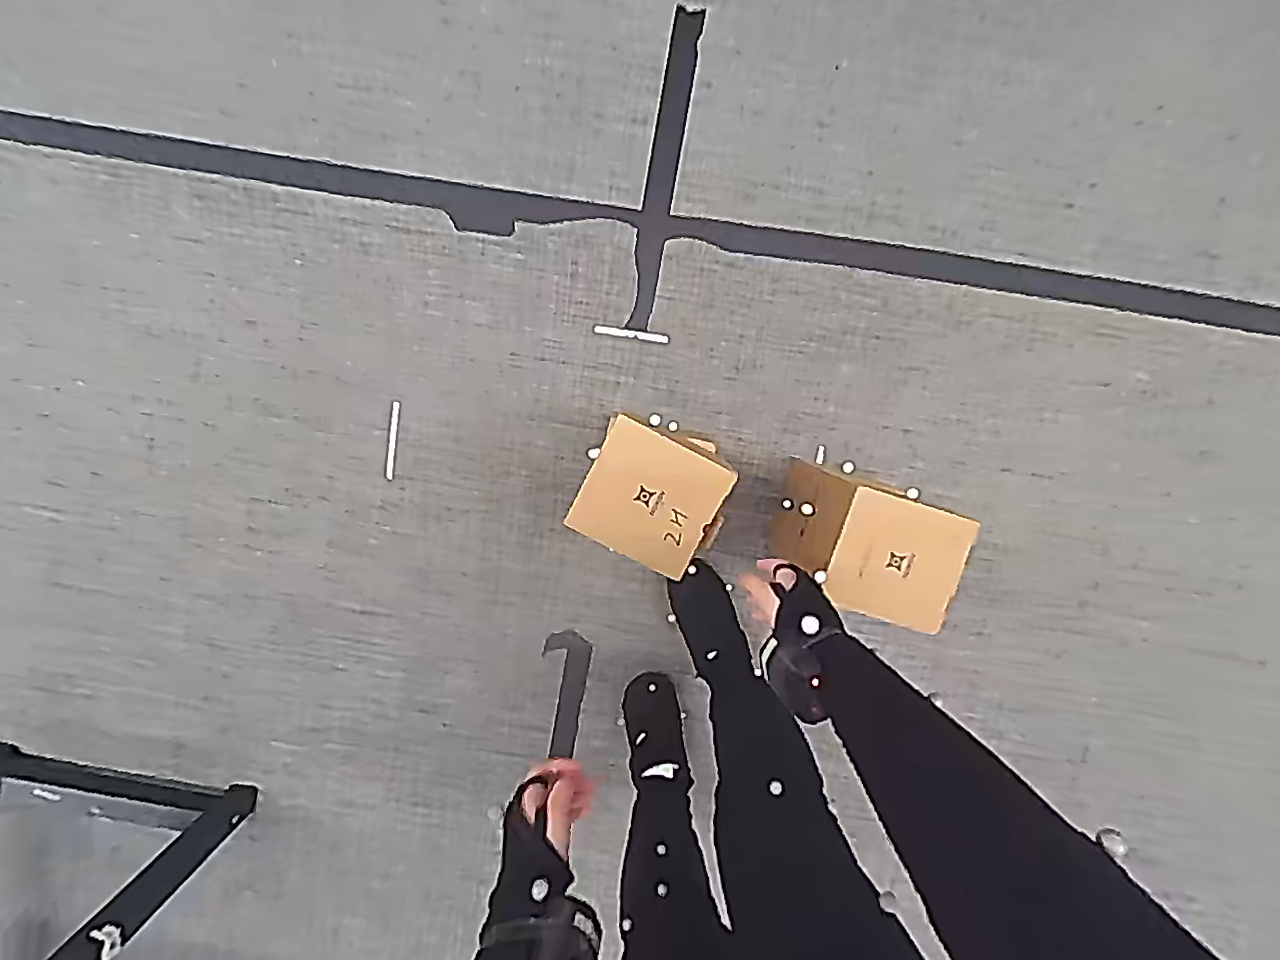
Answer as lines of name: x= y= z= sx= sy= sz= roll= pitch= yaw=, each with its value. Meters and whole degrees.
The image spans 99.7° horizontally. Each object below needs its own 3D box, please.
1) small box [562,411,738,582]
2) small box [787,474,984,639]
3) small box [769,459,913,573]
small box: x=0.014 y=0.013 z=0.769 sx=0.179 sy=0.176 sz=0.168 roll=28 pitch=100 yaw=-3
small box: x=0.338 y=0.098 z=0.783 sx=0.179 sy=0.176 sz=0.168 roll=18 pitch=98 yaw=-2
small box: x=0.337 y=0.075 z=0.944 sx=0.168 sy=0.176 sz=0.179 roll=16 pitch=99 yaw=-2
